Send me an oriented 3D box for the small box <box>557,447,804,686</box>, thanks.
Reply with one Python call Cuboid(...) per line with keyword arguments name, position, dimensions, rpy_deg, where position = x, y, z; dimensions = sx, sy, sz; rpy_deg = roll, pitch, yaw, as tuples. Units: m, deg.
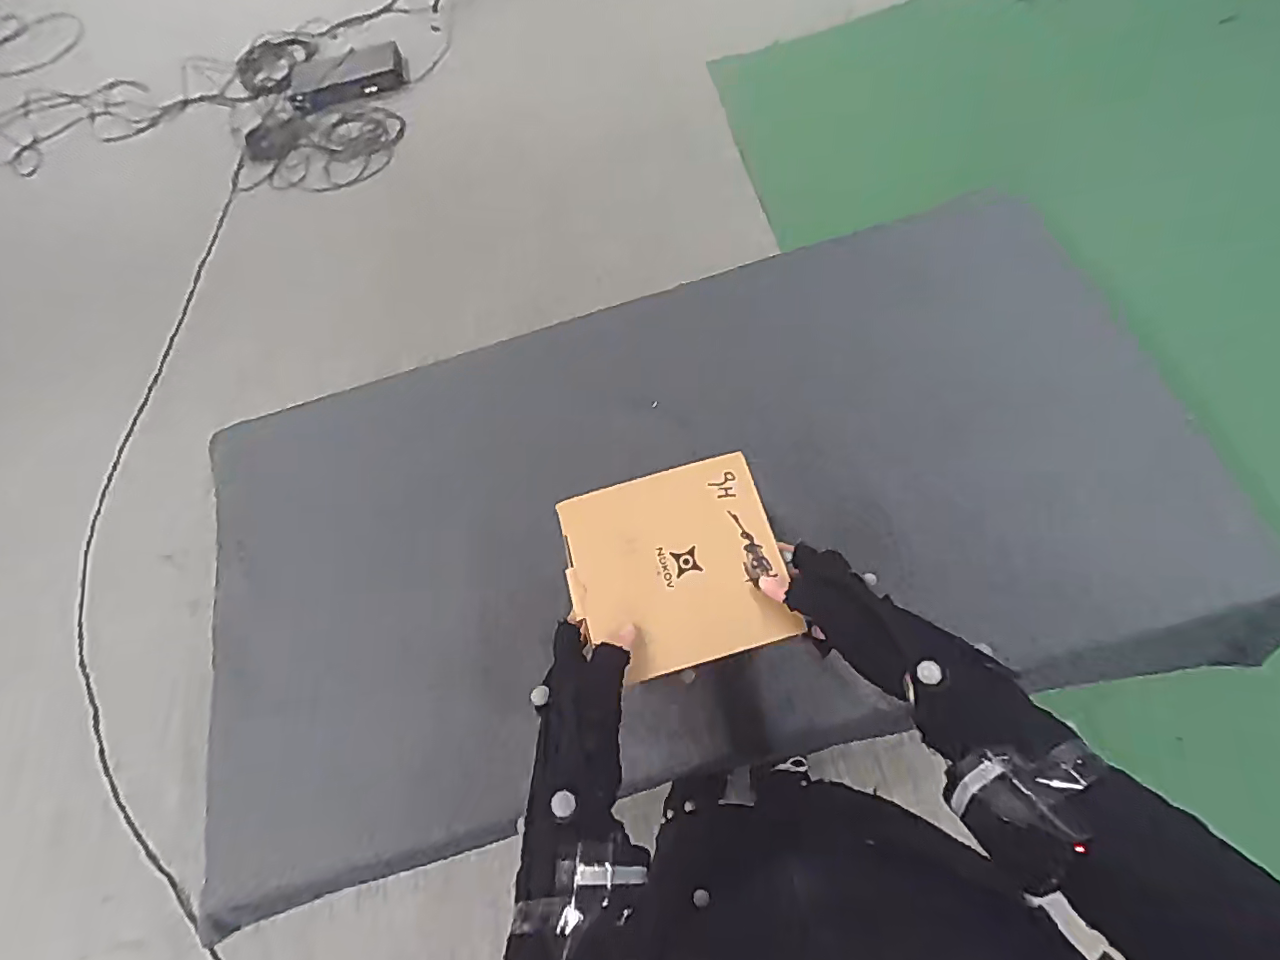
Cuboid(name="small box", position=(0.035, 0.096, 0.537), dimensions=(0.179, 0.176, 0.168), rpy_deg=(-18, 68, -4))
